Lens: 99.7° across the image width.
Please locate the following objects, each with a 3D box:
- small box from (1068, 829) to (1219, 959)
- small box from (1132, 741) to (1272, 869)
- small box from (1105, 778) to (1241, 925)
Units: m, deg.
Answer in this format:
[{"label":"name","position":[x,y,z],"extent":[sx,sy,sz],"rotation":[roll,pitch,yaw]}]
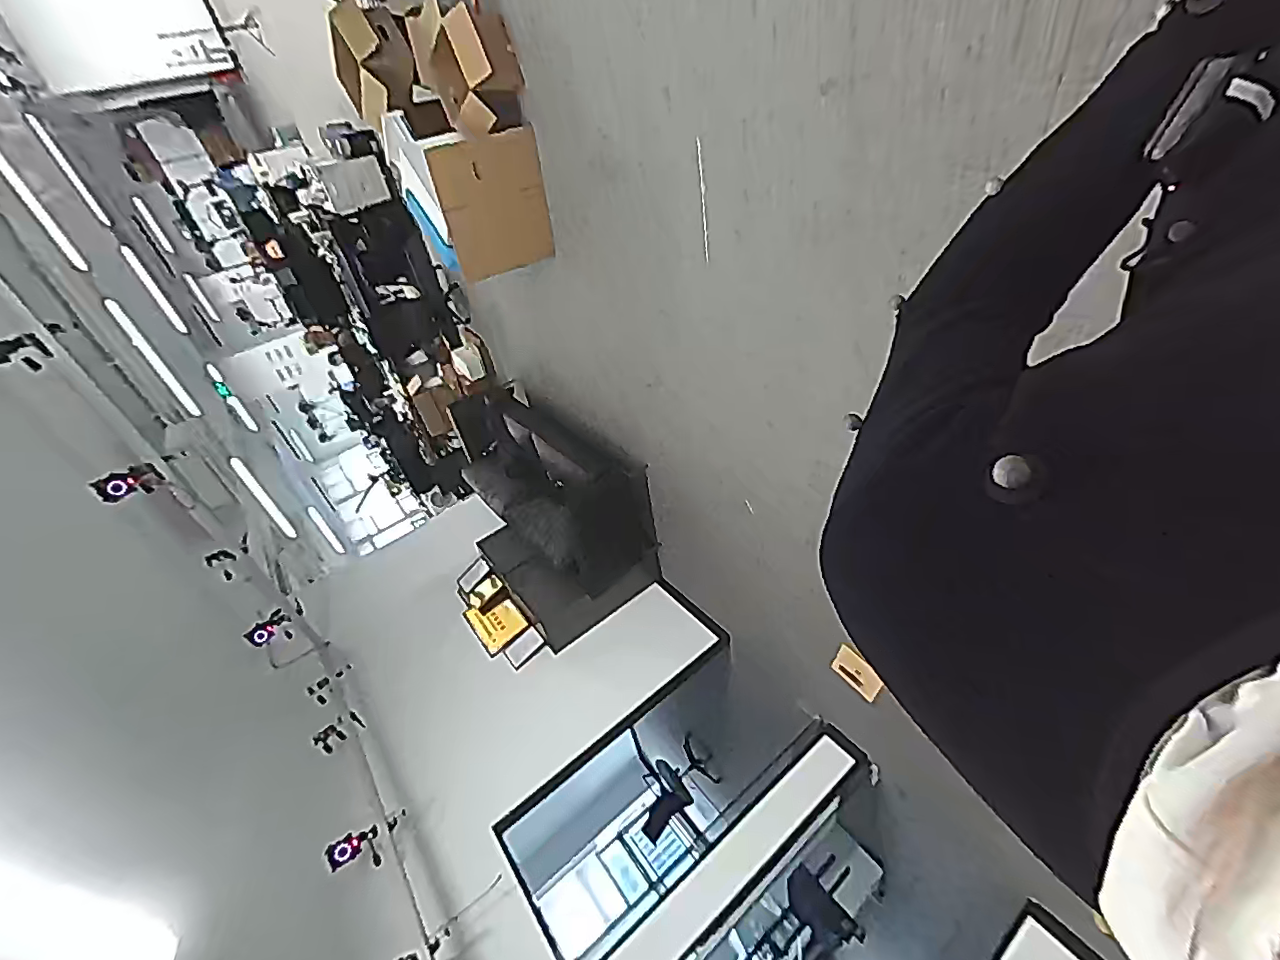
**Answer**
[{"label":"small box","position":[1.077,0.899,1.159],"extent":[0.179,0.176,0.168],"rotation":[-11,108,62]},{"label":"small box","position":[1.341,0.761,1.292],"extent":[0.168,0.176,0.179],"rotation":[63,155,-8]},{"label":"small box","position":[1.209,0.829,1.225],"extent":[0.168,0.176,0.179],"rotation":[-6,111,63]}]
